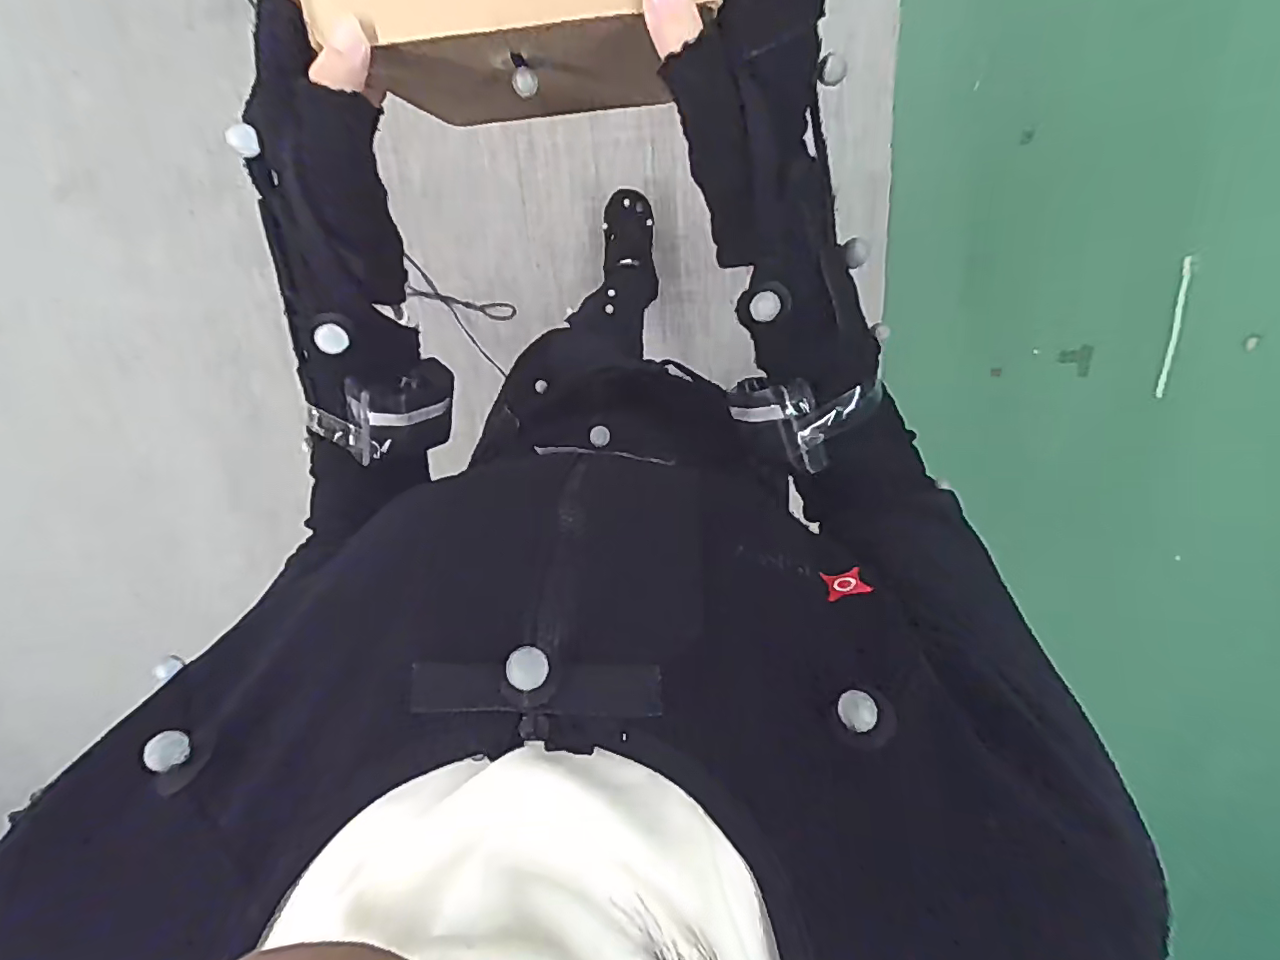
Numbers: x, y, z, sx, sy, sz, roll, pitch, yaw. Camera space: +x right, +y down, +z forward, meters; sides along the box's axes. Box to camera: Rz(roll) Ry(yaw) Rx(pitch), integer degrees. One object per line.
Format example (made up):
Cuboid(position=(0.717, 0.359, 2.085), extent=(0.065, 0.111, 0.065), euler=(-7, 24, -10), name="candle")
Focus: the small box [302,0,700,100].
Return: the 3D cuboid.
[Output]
Cuboid(position=(-0.059, -0.308, 0.266), extent=(0.179, 0.176, 0.168), euler=(-3, 114, 5), name="small box")
